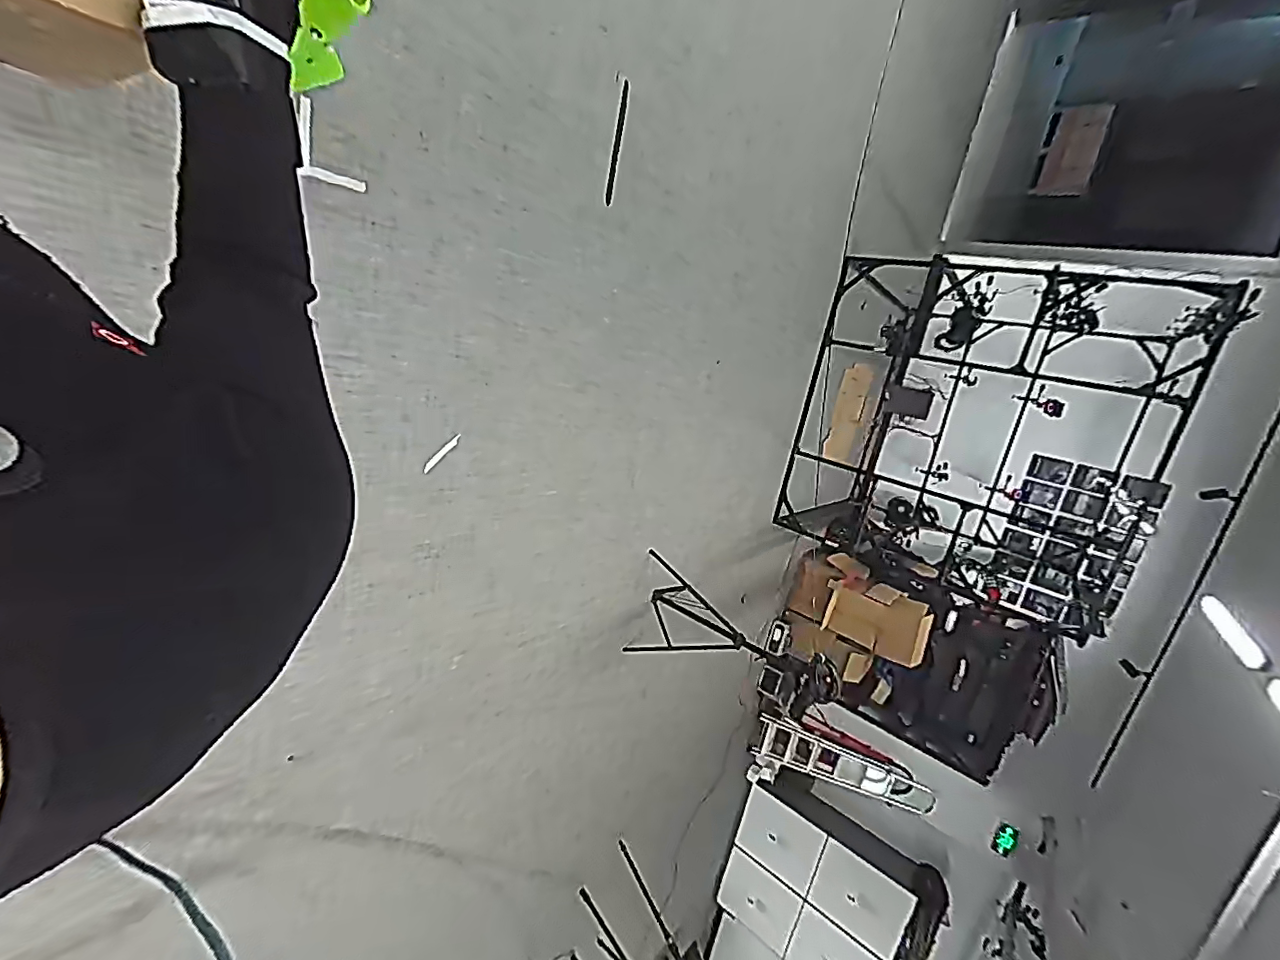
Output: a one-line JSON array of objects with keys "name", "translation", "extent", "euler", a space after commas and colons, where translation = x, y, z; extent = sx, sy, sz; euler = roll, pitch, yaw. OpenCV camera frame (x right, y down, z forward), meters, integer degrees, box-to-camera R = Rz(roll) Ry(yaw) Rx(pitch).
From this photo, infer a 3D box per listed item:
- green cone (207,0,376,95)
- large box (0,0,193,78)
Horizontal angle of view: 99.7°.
[{"name": "green cone", "translation": [-0.613, -0.877, 1.017], "extent": [0.202, 0.368, 0.200], "euler": [-48, 142, -30]}, {"name": "large box", "translation": [-0.516, -0.465, 0.252], "extent": [0.408, 0.320, 0.320], "euler": [-11, 117, -53]}]
